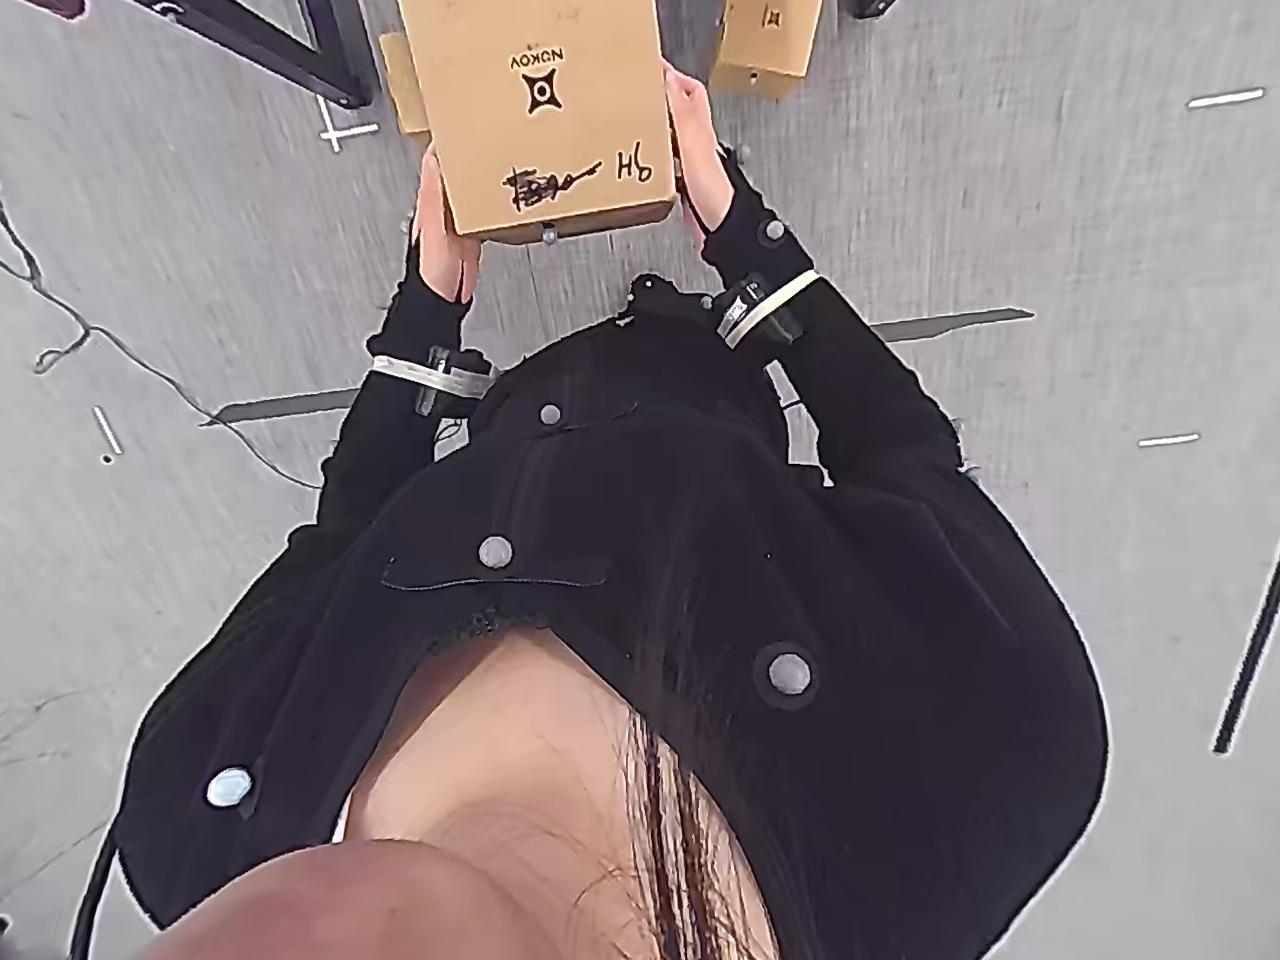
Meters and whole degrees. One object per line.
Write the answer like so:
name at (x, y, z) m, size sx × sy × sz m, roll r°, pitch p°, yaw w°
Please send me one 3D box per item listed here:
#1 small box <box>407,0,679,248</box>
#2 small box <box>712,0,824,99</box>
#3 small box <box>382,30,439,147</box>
small box at (-0.064, -0.297, 0.439) m, size 0.168 × 0.176 × 0.179 m, roll -8°, pitch 110°, yaw 3°
small box at (0.252, -0.897, 1.092) m, size 0.179 × 0.176 × 0.168 m, roll 9°, pitch 112°, yaw -1°
small box at (-0.403, -0.815, 1.135) m, size 0.179 × 0.176 × 0.168 m, roll -5°, pitch 112°, yaw 2°
